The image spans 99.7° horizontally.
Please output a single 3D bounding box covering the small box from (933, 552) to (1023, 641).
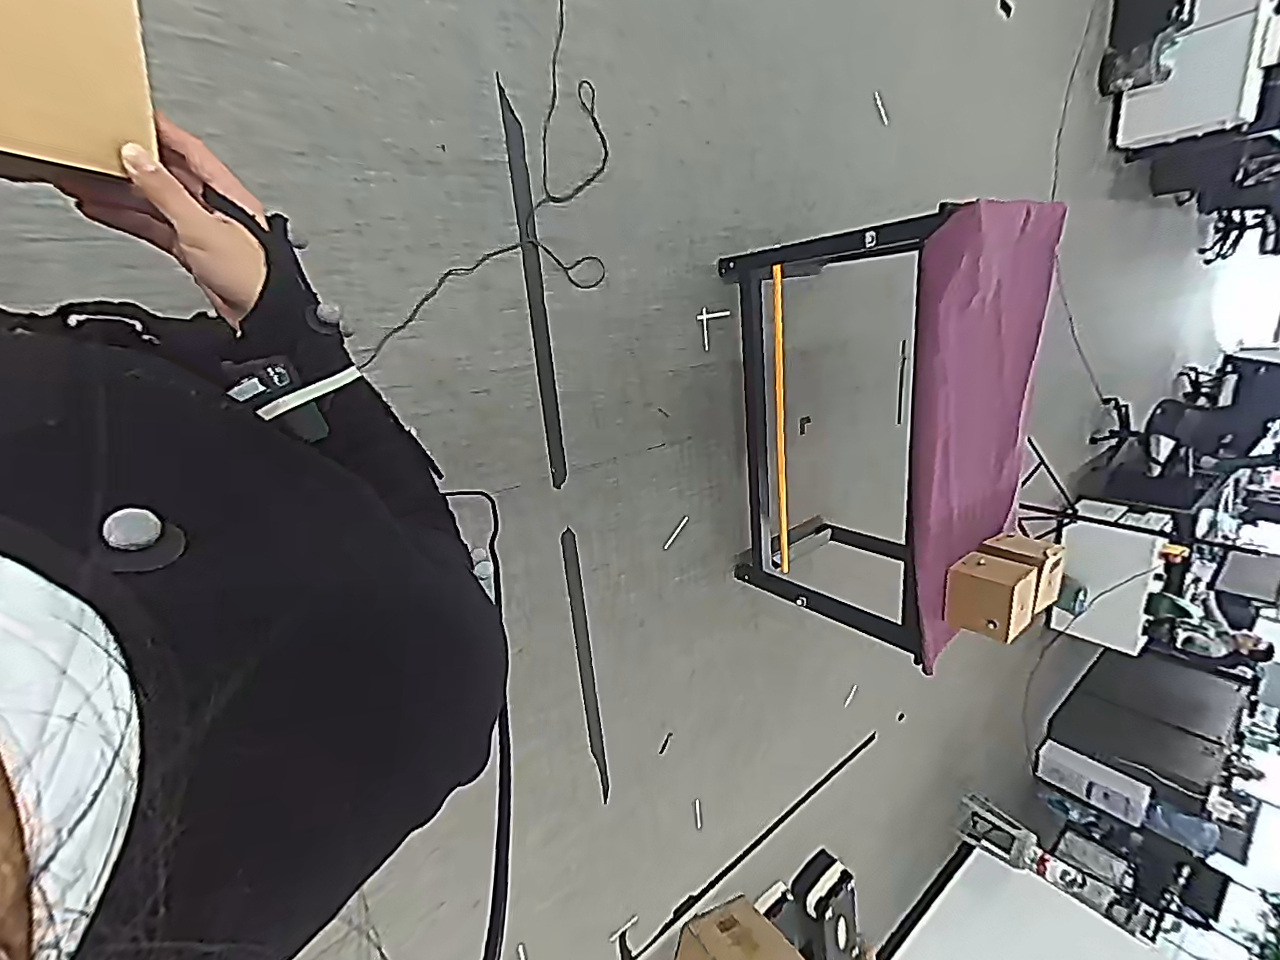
[{"bbox_3d":[0.968,0.328,1.557,0.168,0.176,0.179,-16,109,-36],"label":"small box"}]

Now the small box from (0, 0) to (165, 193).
[{"bbox_3d":[-0.386,-0.253,0.258,0.179,0.176,0.168,-28,129,-63],"label":"small box"}]

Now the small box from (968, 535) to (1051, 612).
[{"bbox_3d":[1.127,0.277,1.668,0.168,0.176,0.179,-10,107,-34],"label":"small box"}]
